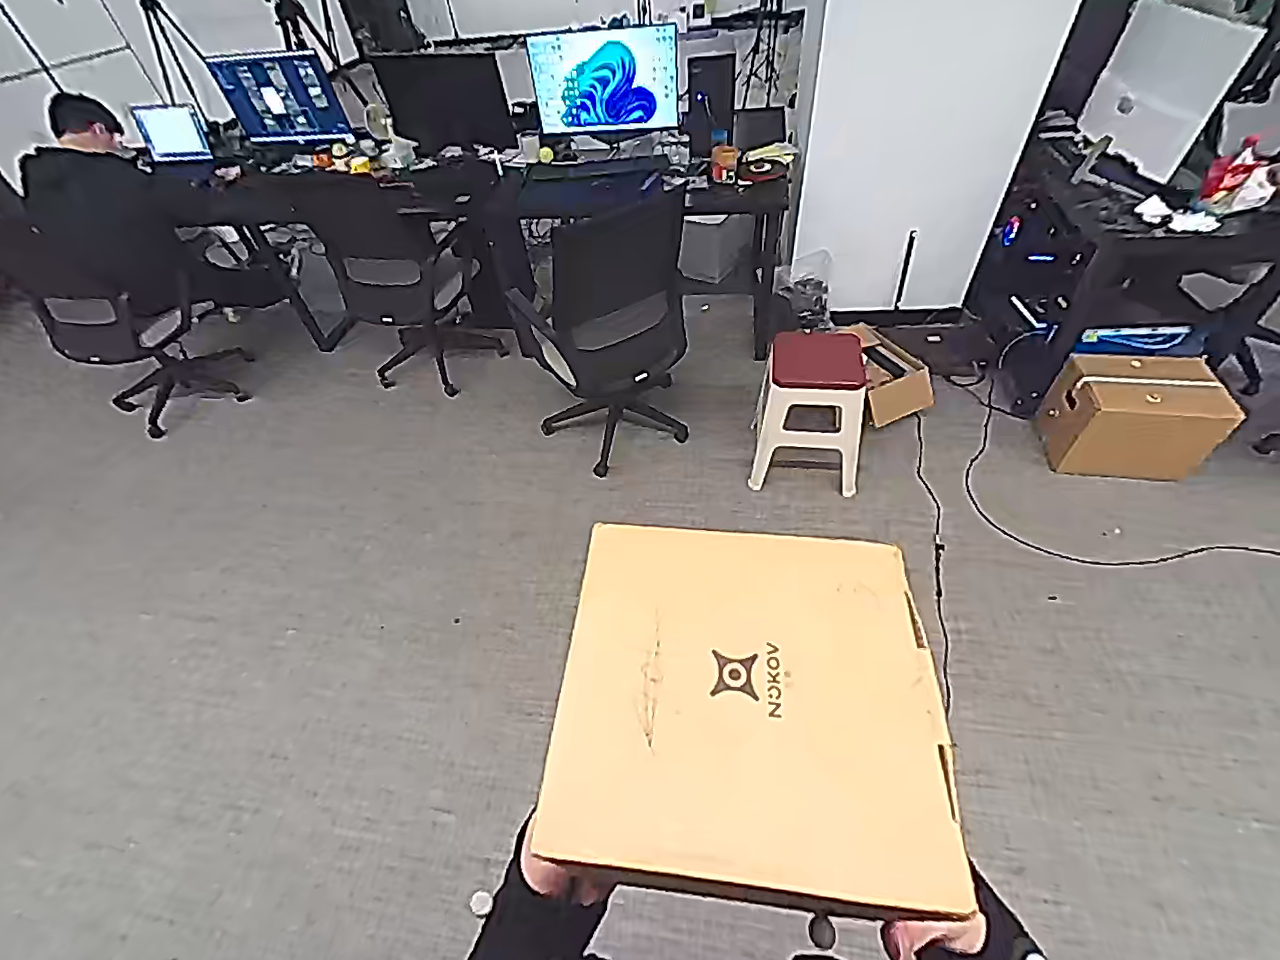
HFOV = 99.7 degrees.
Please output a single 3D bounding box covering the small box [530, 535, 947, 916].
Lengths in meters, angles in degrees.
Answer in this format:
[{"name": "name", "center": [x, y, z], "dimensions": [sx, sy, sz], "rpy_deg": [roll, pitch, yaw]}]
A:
[{"name": "small box", "center": [0.052, 0.153, 0.335], "dimensions": [0.179, 0.176, 0.168], "rpy_deg": [3, 50, 7]}]
